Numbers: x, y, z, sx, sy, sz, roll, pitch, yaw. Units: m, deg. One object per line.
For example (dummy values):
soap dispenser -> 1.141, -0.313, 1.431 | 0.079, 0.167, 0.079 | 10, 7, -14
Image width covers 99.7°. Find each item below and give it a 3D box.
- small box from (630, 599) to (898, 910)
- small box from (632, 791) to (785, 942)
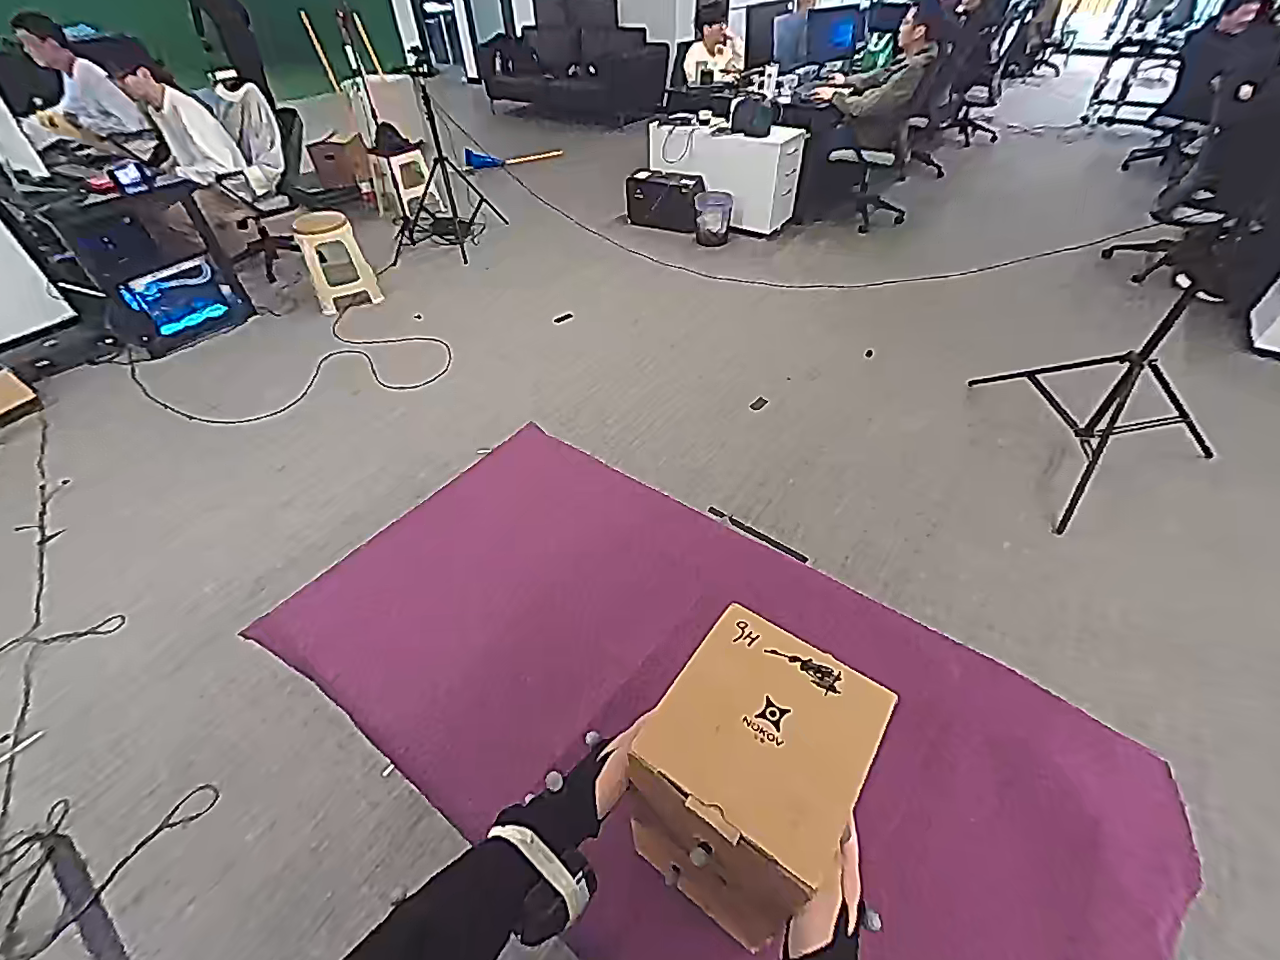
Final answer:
small box -> 0.110, 0.256, 0.509 | 0.168, 0.176, 0.179 | 28, 52, 26
small box -> 0.110, 0.379, 0.620 | 0.168, 0.176, 0.179 | 26, 51, 26
